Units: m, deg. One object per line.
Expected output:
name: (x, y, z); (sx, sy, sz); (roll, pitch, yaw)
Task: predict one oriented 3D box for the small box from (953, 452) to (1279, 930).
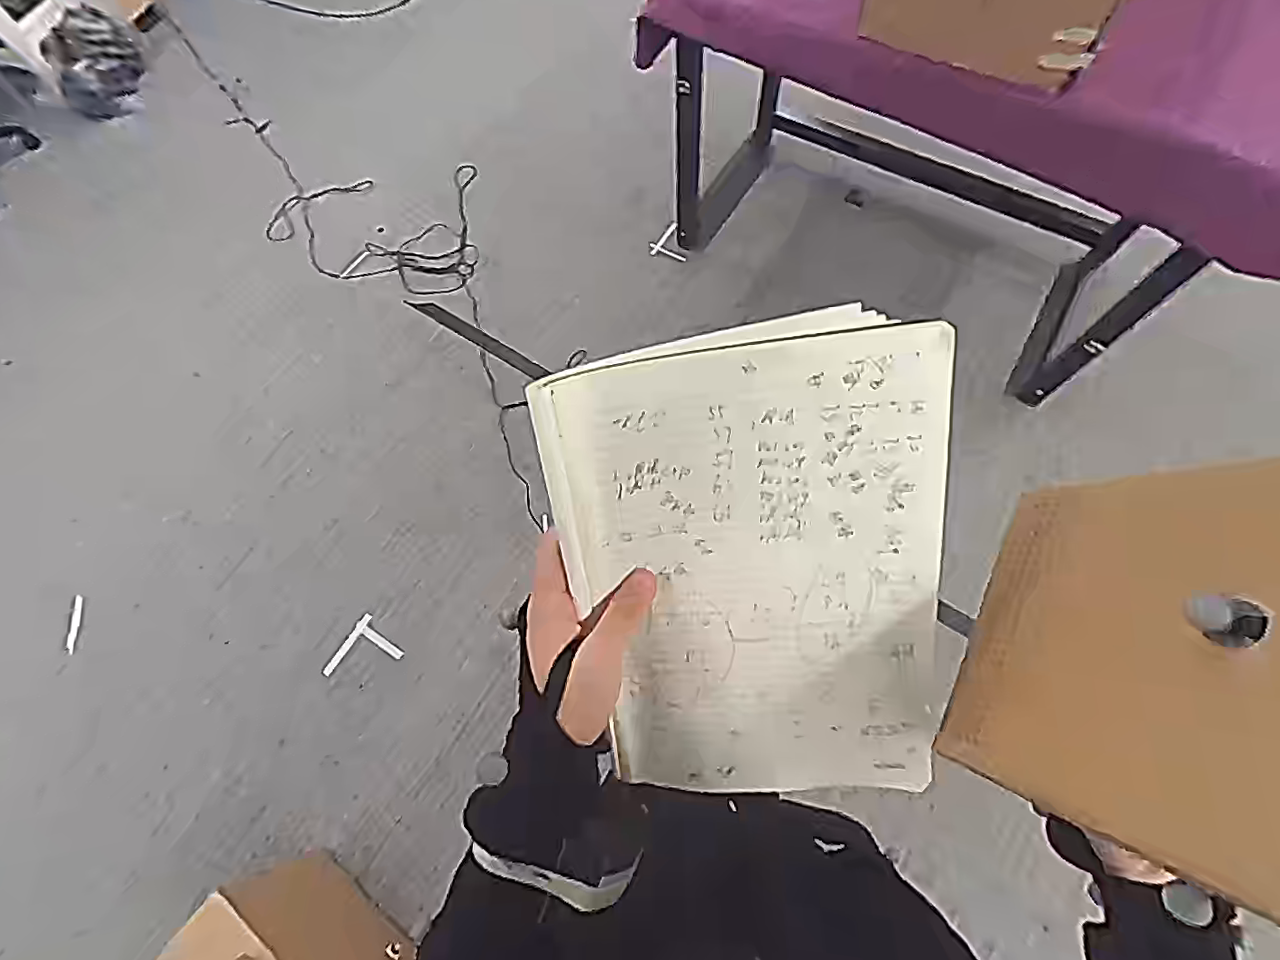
small box: (0.292, 0.108, 0.258); (0.168, 0.176, 0.179); (28, 77, -4)
